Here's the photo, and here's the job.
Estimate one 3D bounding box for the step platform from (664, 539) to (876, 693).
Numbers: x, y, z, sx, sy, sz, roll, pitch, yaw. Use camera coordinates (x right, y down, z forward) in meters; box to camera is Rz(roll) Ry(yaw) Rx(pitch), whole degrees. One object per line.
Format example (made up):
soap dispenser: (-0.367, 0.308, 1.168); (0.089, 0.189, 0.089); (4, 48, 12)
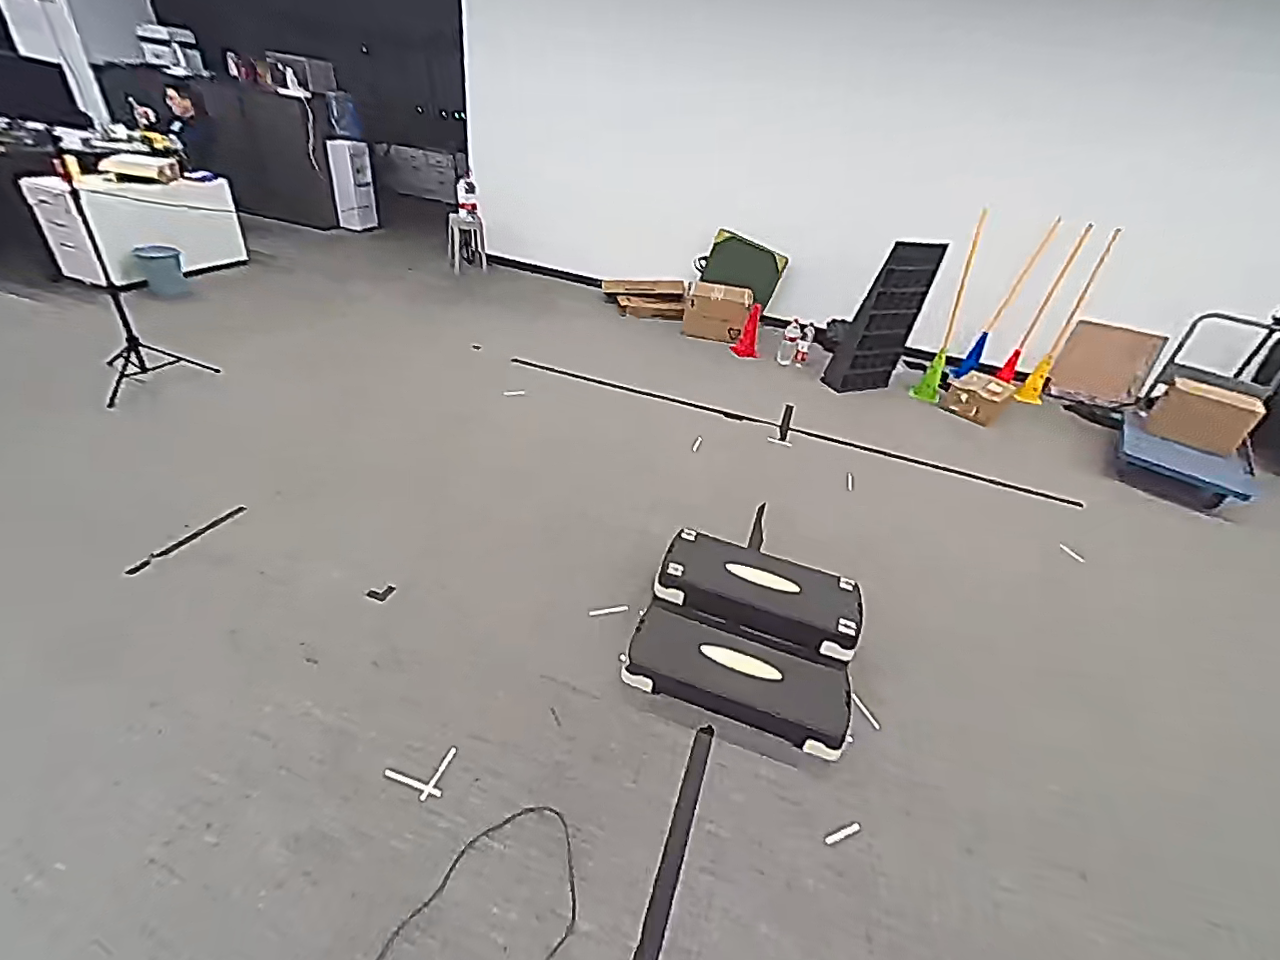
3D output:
step platform: (0.436, 0.443, 1.849); (0.684, 0.204, 0.286); (19, 35, 15)
